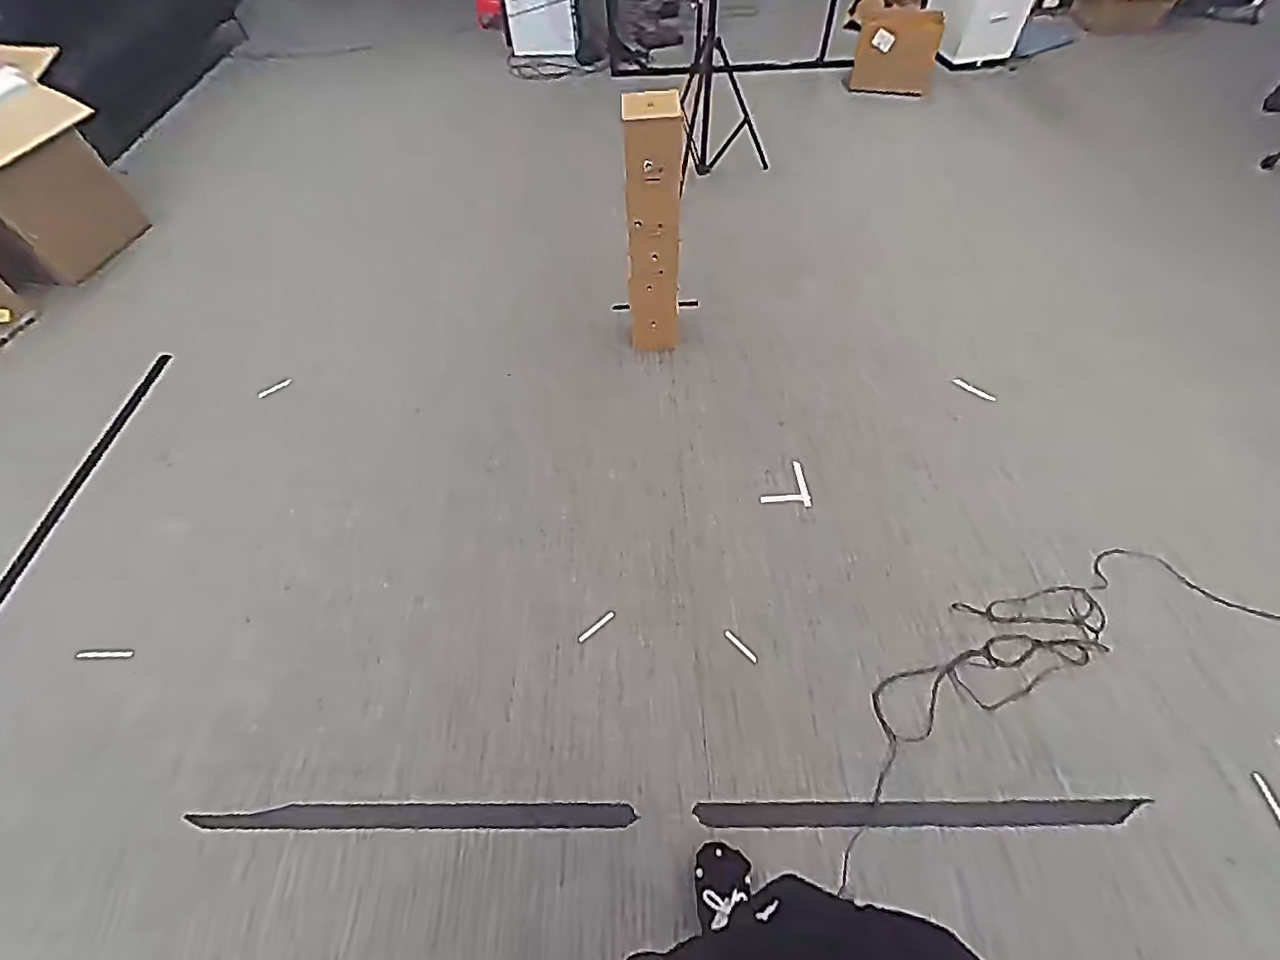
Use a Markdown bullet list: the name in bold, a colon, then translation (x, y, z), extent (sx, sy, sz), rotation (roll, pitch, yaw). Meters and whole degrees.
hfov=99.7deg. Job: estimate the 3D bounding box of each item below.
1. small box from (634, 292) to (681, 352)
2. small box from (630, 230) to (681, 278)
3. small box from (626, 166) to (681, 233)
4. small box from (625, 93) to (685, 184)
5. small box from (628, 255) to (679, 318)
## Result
- **small box**: translation (0.065, -0.618, 2.110), extent (0.179, 0.176, 0.168), rotation (-2, 55, 1)
- **small box**: translation (0.055, -0.804, 1.840), extent (0.168, 0.176, 0.179), rotation (0, 56, 2)
- **small box**: translation (0.046, -0.899, 1.707), extent (0.168, 0.176, 0.179), rotation (-1, 55, 2)
- **small box**: translation (0.042, -0.992, 1.574), extent (0.168, 0.176, 0.179), rotation (-3, 56, 2)
- **small box**: translation (0.052, -0.708, 1.973), extent (0.179, 0.176, 0.168), rotation (0, 56, 3)
